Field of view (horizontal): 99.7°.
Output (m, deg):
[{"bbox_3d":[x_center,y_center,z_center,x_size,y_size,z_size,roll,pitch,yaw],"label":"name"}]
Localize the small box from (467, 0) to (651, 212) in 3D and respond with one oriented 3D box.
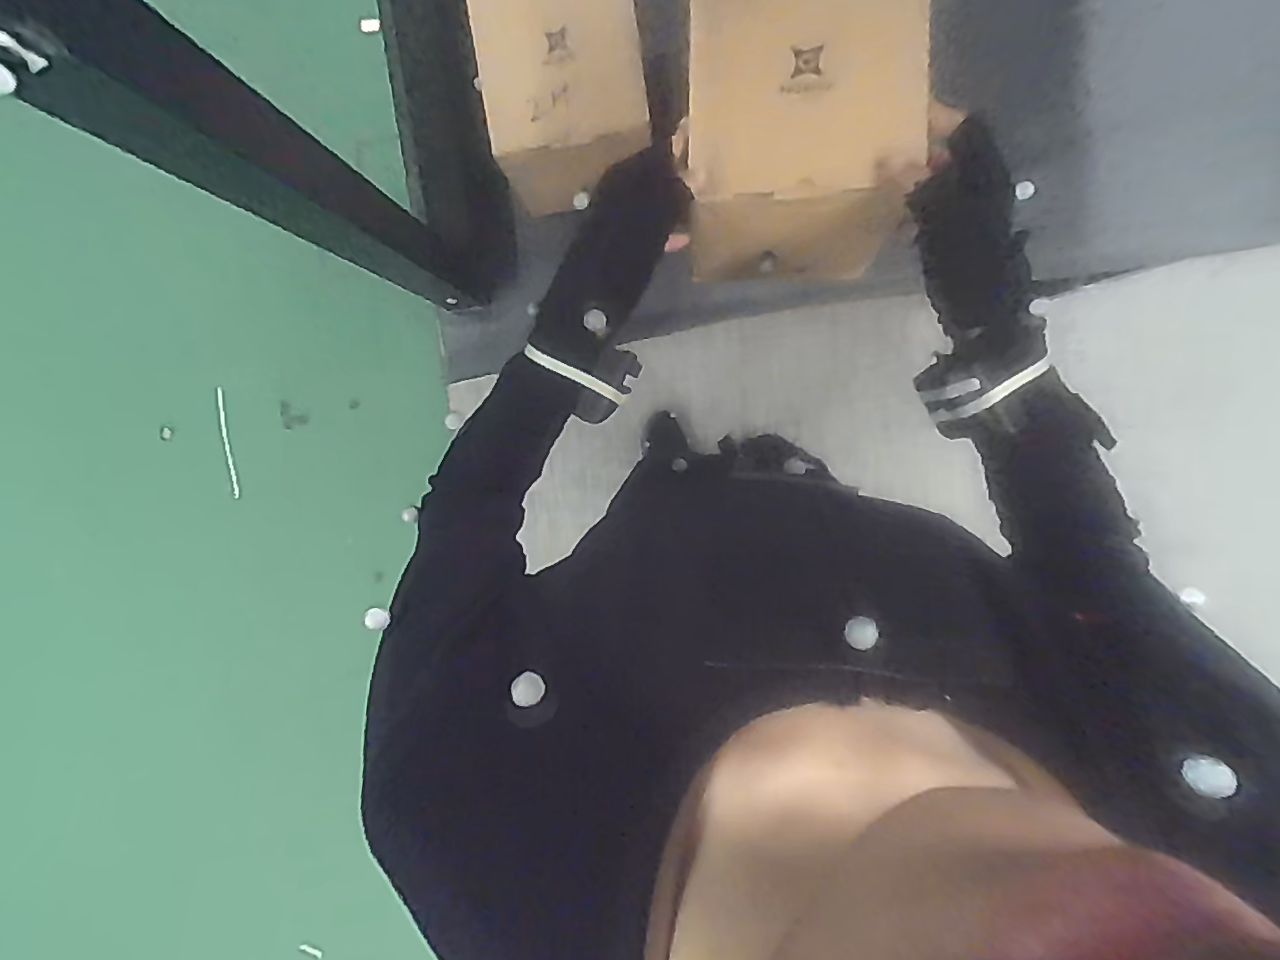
[{"bbox_3d":[-0.080,-0.437,0.615,0.168,0.176,0.179,-8,95,4],"label":"small box"}]
